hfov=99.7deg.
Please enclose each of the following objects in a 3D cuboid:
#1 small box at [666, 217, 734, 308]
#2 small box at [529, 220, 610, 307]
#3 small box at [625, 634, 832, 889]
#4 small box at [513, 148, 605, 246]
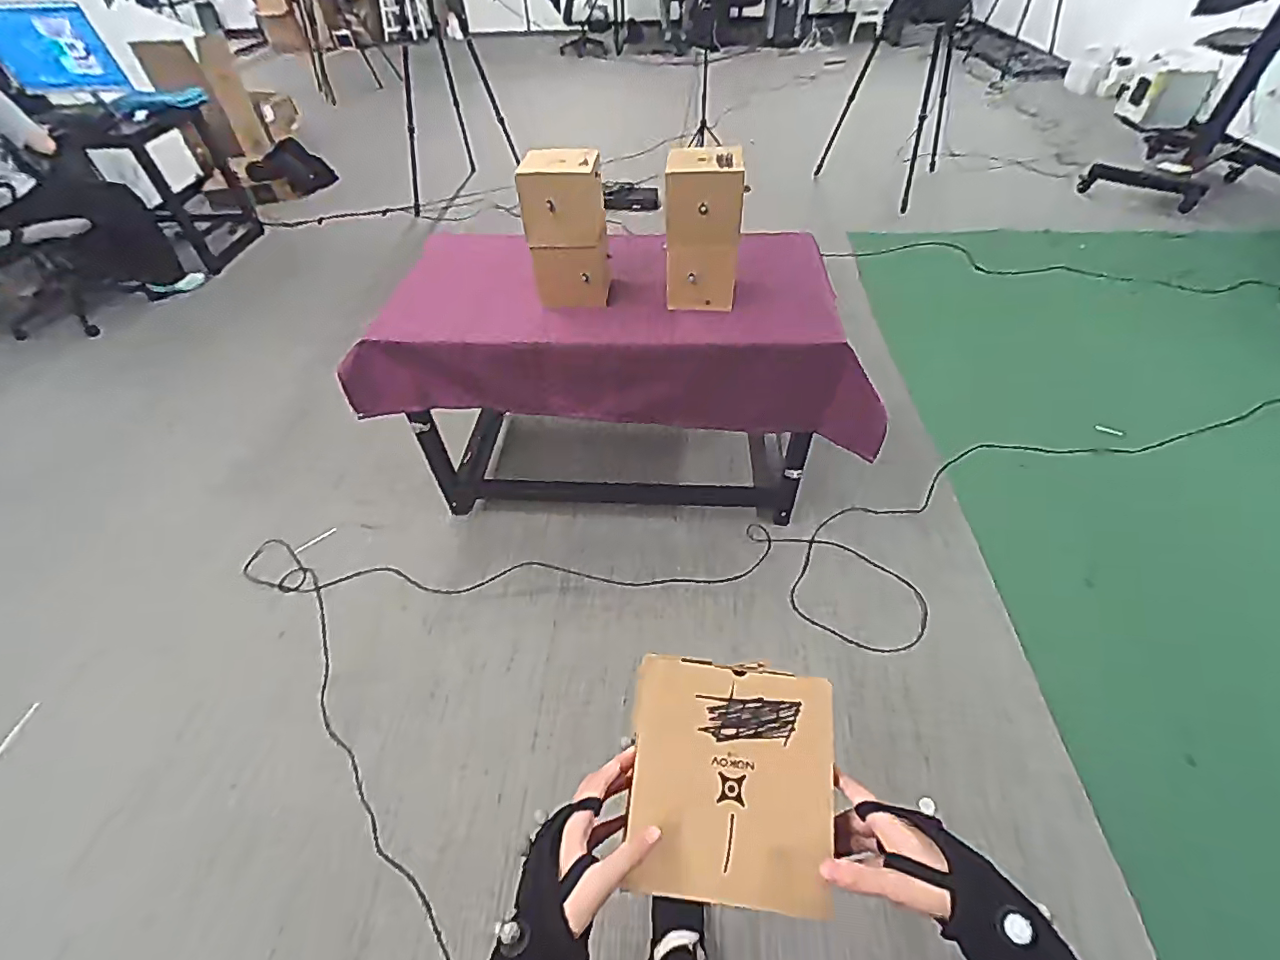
[{"bbox_3d":[0.157,-0.562,1.404,0.168,0.176,0.179,3,47,6],"label":"small box"},{"bbox_3d":[-0.177,-0.573,1.432,0.179,0.176,0.168,2,47,5],"label":"small box"},{"bbox_3d":[0.076,0.259,0.527,0.168,0.176,0.179,7,68,2],"label":"small box"},{"bbox_3d":[-0.188,-0.683,1.310,0.179,0.176,0.168,2,47,5],"label":"small box"}]
